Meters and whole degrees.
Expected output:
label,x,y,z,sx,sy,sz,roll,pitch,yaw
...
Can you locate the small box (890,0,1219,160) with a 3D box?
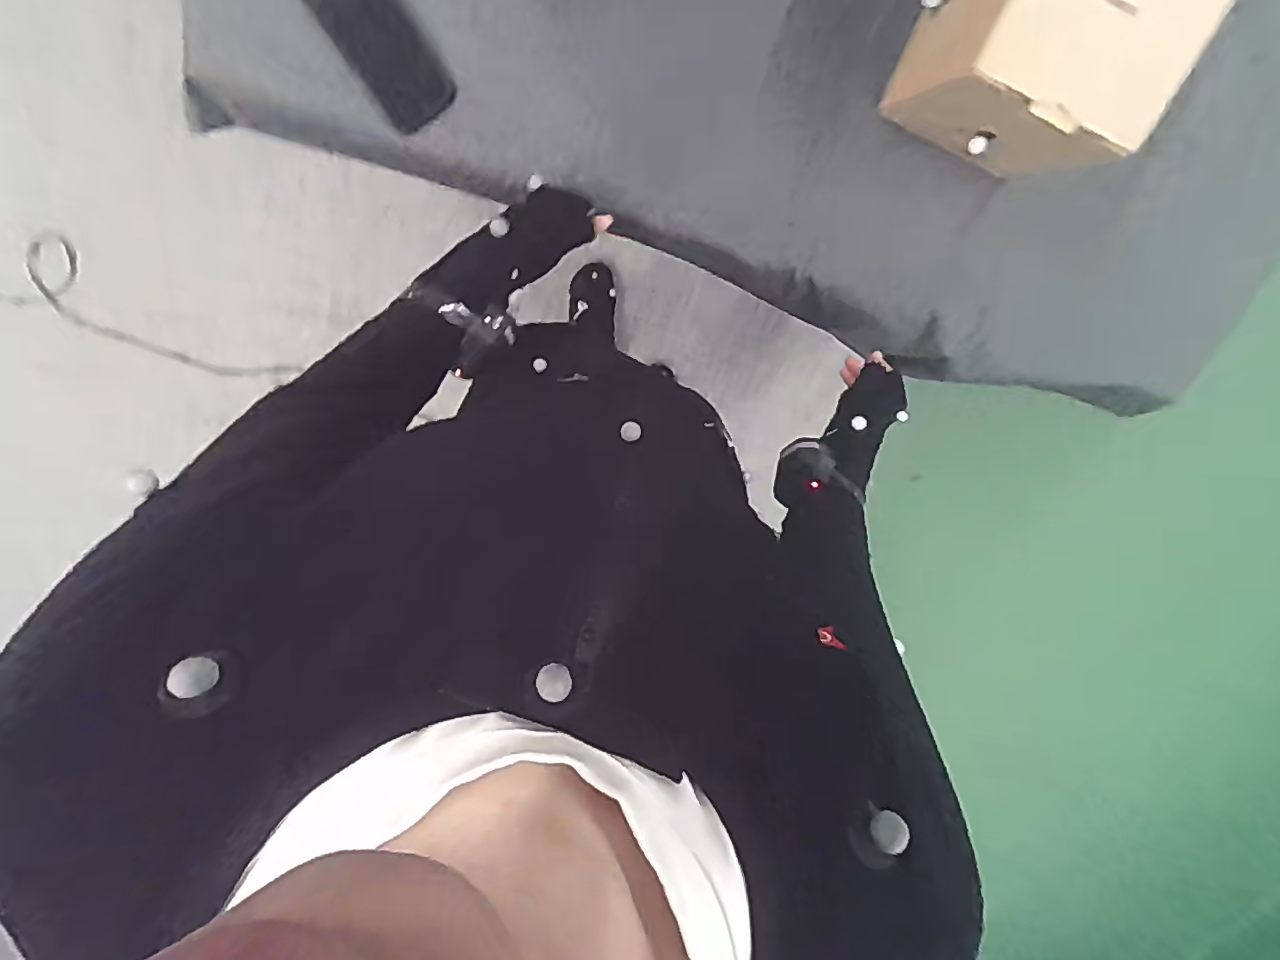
label,x,y,z,sx,sy,sz,roll,pitch,yaw
small box,0.357,-0.412,0.481,0.168,0.176,0.179,18,113,-12
